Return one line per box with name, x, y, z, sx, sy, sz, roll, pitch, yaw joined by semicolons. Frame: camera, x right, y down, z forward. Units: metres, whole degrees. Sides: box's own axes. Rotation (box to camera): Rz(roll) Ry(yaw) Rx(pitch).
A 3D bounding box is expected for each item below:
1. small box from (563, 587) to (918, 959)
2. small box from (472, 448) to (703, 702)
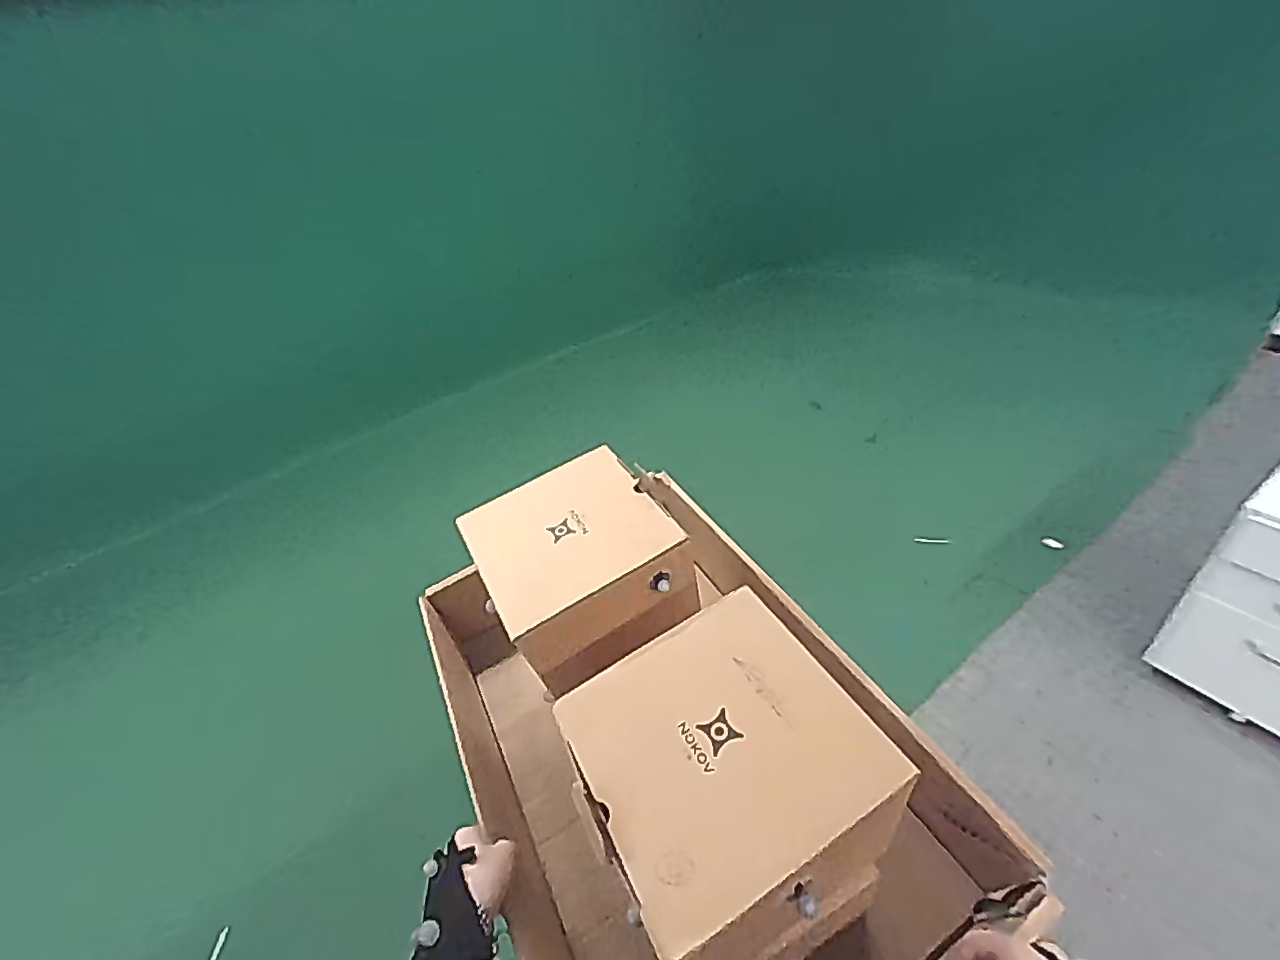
small box;0.070;0.223;0.405;0.179;0.176;0.168;-27;44;-15
small box;-0.046;0.103;0.568;0.179;0.176;0.168;-28;45;-15
